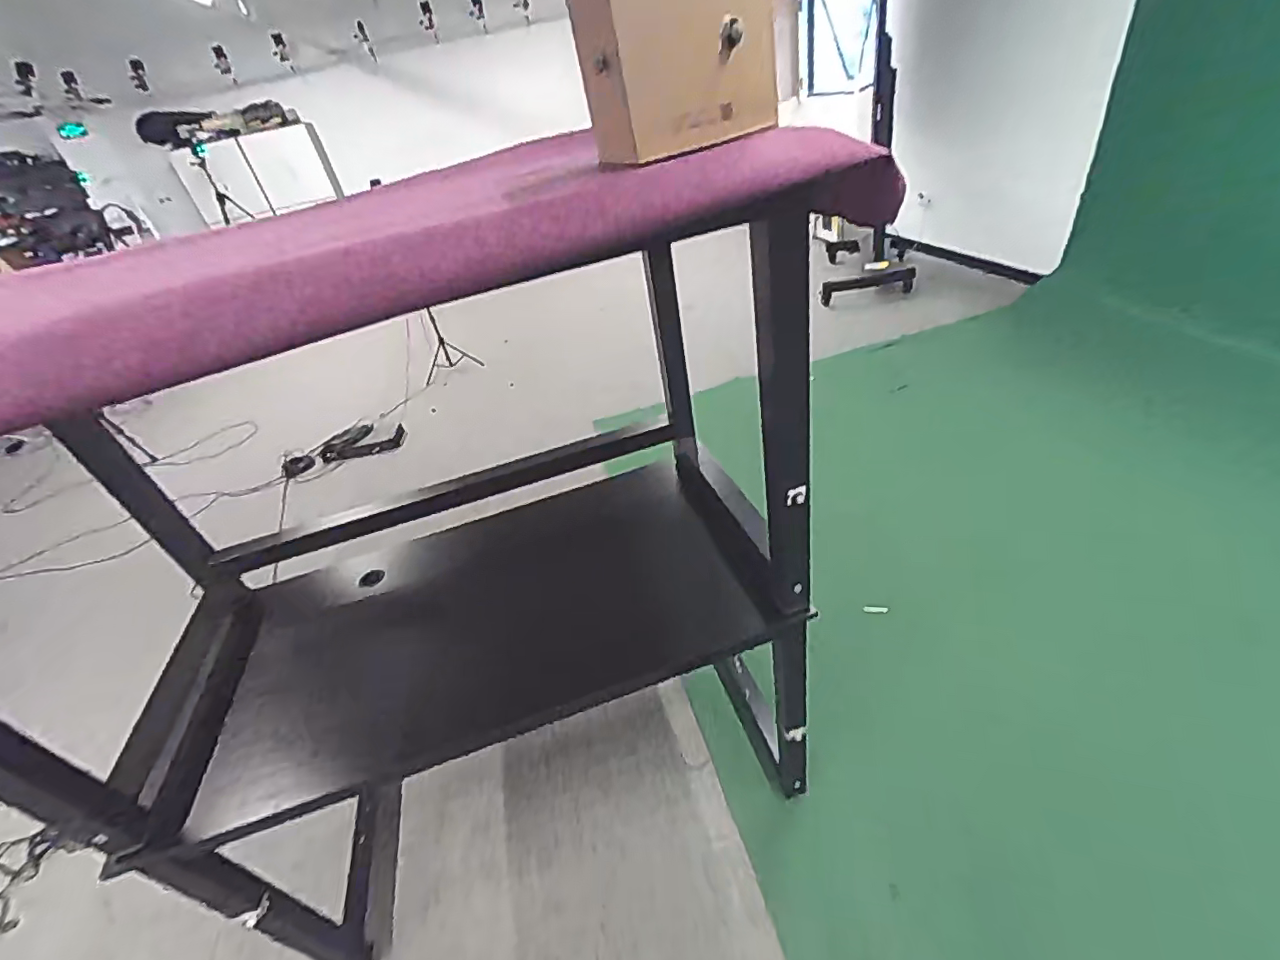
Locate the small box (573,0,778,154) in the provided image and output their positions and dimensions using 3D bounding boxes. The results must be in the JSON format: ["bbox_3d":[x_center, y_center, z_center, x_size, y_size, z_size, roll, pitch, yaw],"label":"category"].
[{"bbox_3d":[0.038,-0.467,0.586,0.168,0.176,0.179,-18,34,-8],"label":"small box"}]
